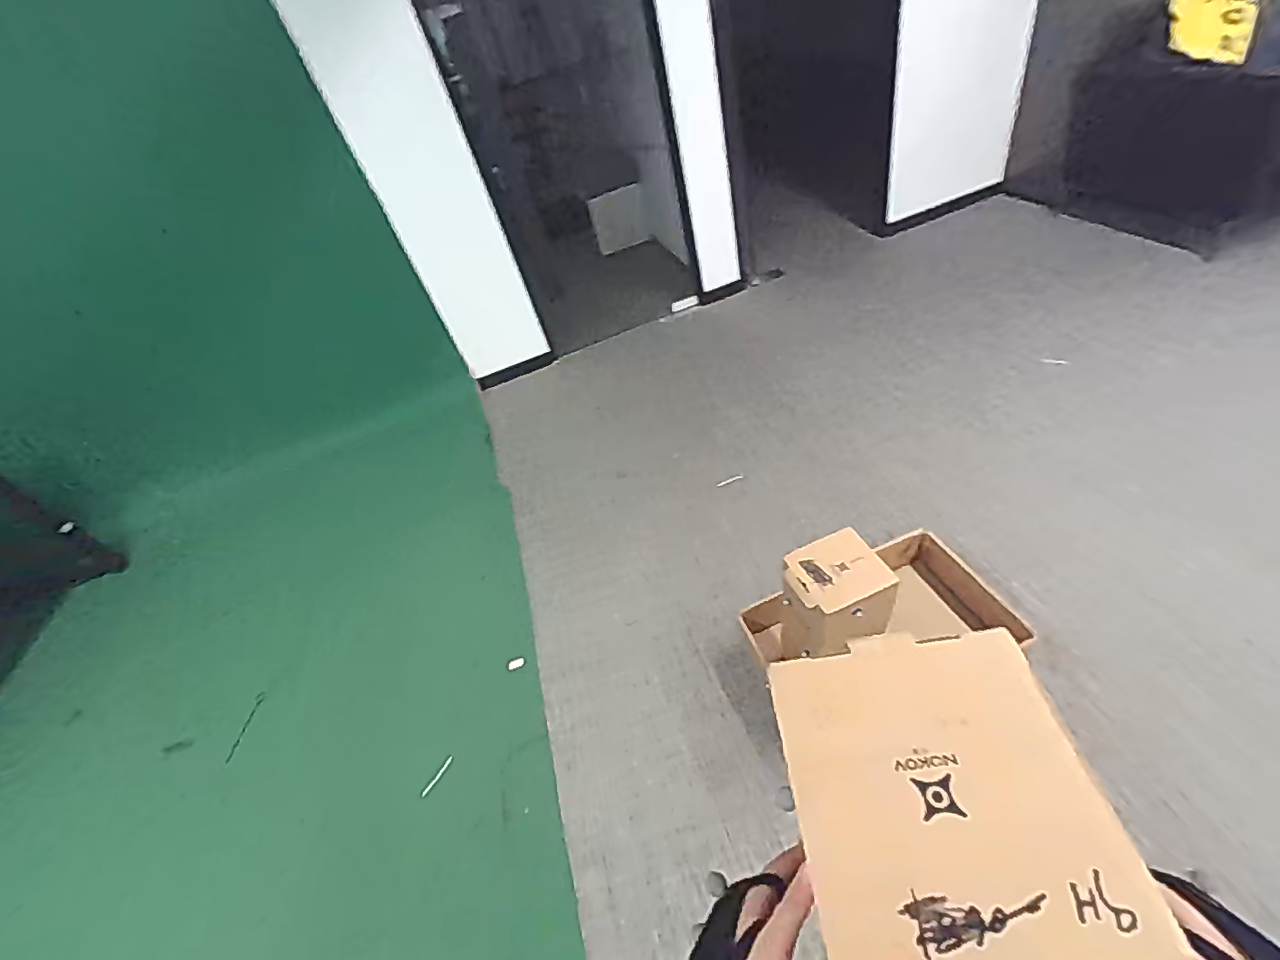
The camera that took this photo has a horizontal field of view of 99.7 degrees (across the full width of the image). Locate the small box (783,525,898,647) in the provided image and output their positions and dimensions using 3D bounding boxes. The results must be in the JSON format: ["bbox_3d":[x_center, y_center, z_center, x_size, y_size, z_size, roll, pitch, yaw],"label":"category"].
[{"bbox_3d":[0.436,0.237,1.189,0.179,0.176,0.168,-24,45,-7],"label":"small box"}]

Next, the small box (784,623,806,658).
[{"bbox_3d":[0.501,0.455,1.424,0.168,0.176,0.179,-24,43,-7],"label":"small box"}]

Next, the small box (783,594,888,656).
[{"bbox_3d":[0.468,0.349,1.304,0.179,0.176,0.168,-24,44,-6],"label":"small box"}]

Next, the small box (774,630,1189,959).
[{"bbox_3d":[0.198,0.233,0.377,0.168,0.176,0.179,-13,43,12],"label":"small box"}]
